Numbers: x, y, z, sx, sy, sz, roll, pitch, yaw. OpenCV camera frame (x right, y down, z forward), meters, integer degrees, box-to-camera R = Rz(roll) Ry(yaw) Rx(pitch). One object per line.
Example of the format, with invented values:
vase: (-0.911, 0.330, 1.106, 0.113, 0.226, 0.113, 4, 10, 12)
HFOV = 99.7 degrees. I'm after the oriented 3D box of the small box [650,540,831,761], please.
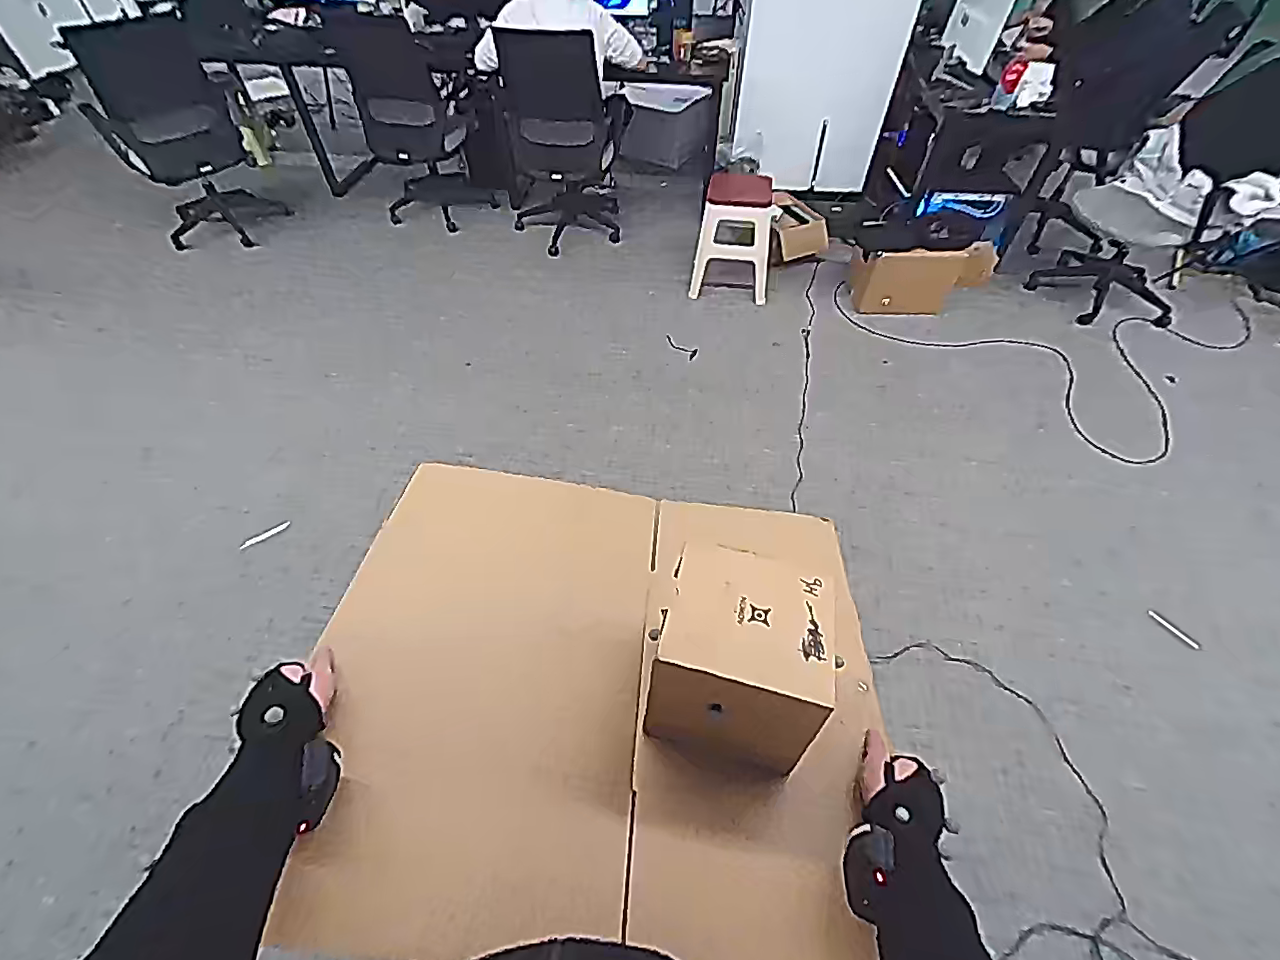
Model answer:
small box: (0.113, 0.200, 0.633, 0.179, 0.176, 0.168, 12, 44, 9)
